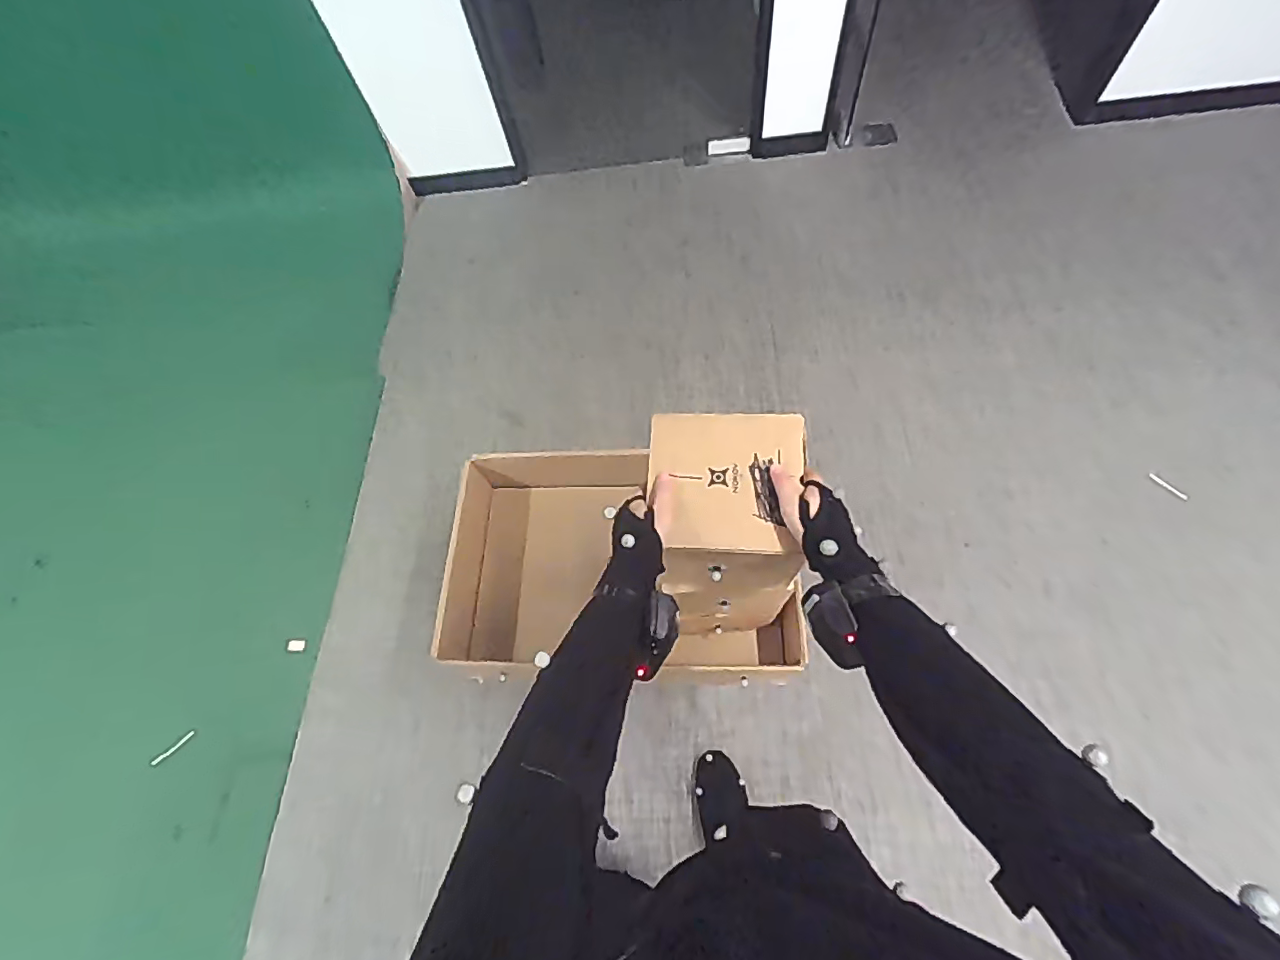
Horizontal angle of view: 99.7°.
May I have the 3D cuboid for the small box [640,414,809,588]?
[{"bbox_3d":[0.101,0.032,0.663,0.179,0.176,0.168,1,66,8],"label":"small box"}]
